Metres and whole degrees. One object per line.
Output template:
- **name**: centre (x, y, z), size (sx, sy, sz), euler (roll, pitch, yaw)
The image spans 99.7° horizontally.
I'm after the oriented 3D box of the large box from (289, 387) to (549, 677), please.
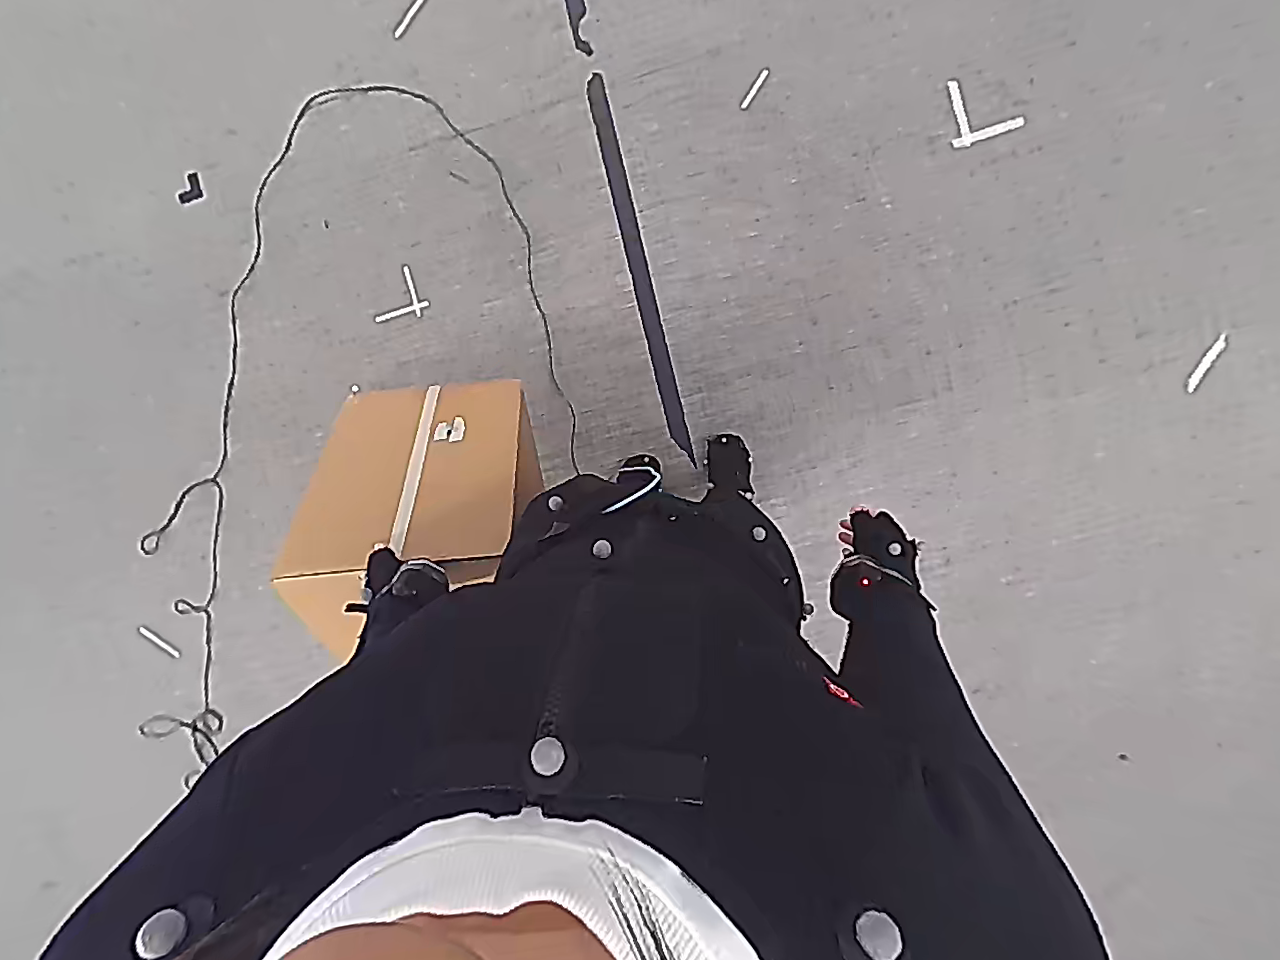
- **large box**: centre (-0.342, 0.085, 0.976), size (0.320, 0.408, 0.320), euler (-5, 135, -3)
